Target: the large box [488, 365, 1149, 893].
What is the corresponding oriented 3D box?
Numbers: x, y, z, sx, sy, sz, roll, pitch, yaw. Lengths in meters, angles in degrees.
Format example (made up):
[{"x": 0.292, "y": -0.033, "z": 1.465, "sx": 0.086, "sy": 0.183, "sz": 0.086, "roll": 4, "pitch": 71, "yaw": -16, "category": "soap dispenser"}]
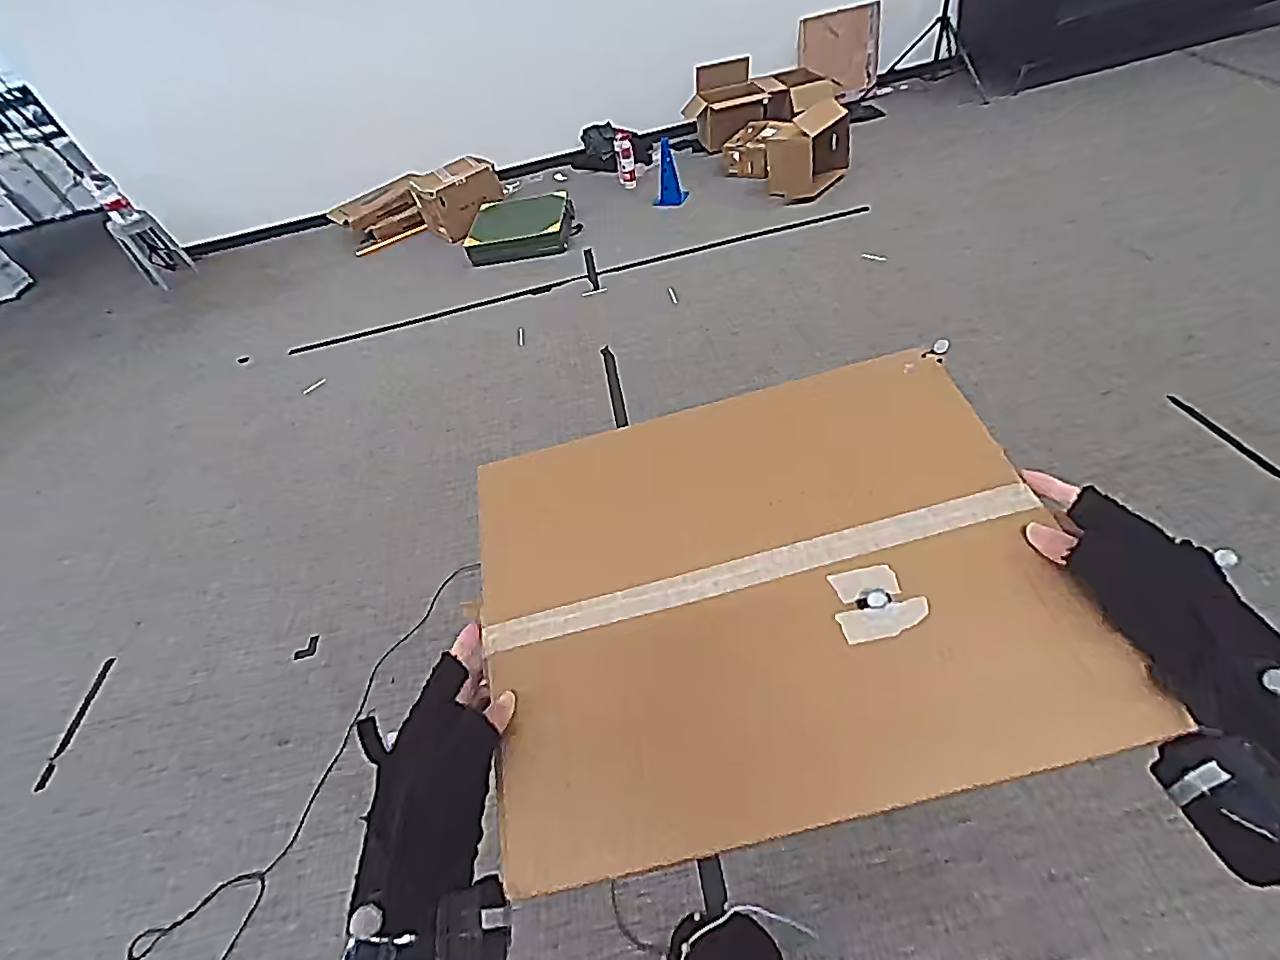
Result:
[{"x": 0.107, "y": 0.149, "z": 0.530, "sx": 0.408, "sy": 0.320, "sz": 0.320, "roll": -15, "pitch": 59, "yaw": 1, "category": "large box"}]
